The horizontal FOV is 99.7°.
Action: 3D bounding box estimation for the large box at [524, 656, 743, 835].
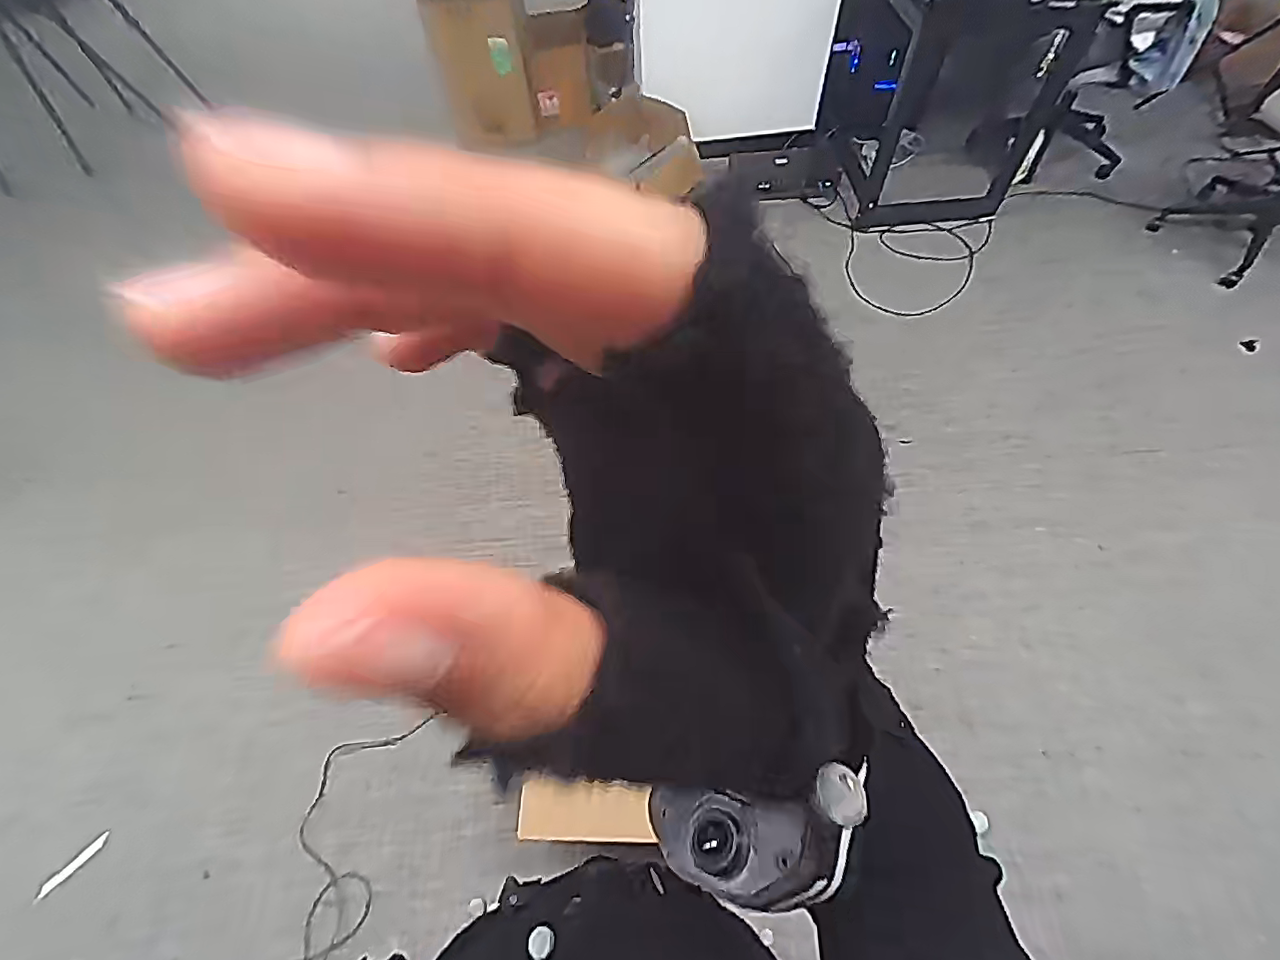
[{"bbox_3d":[-0.010,0.578,1.170,0.408,0.320,0.320,0,59,2],"label":"large box"}]
